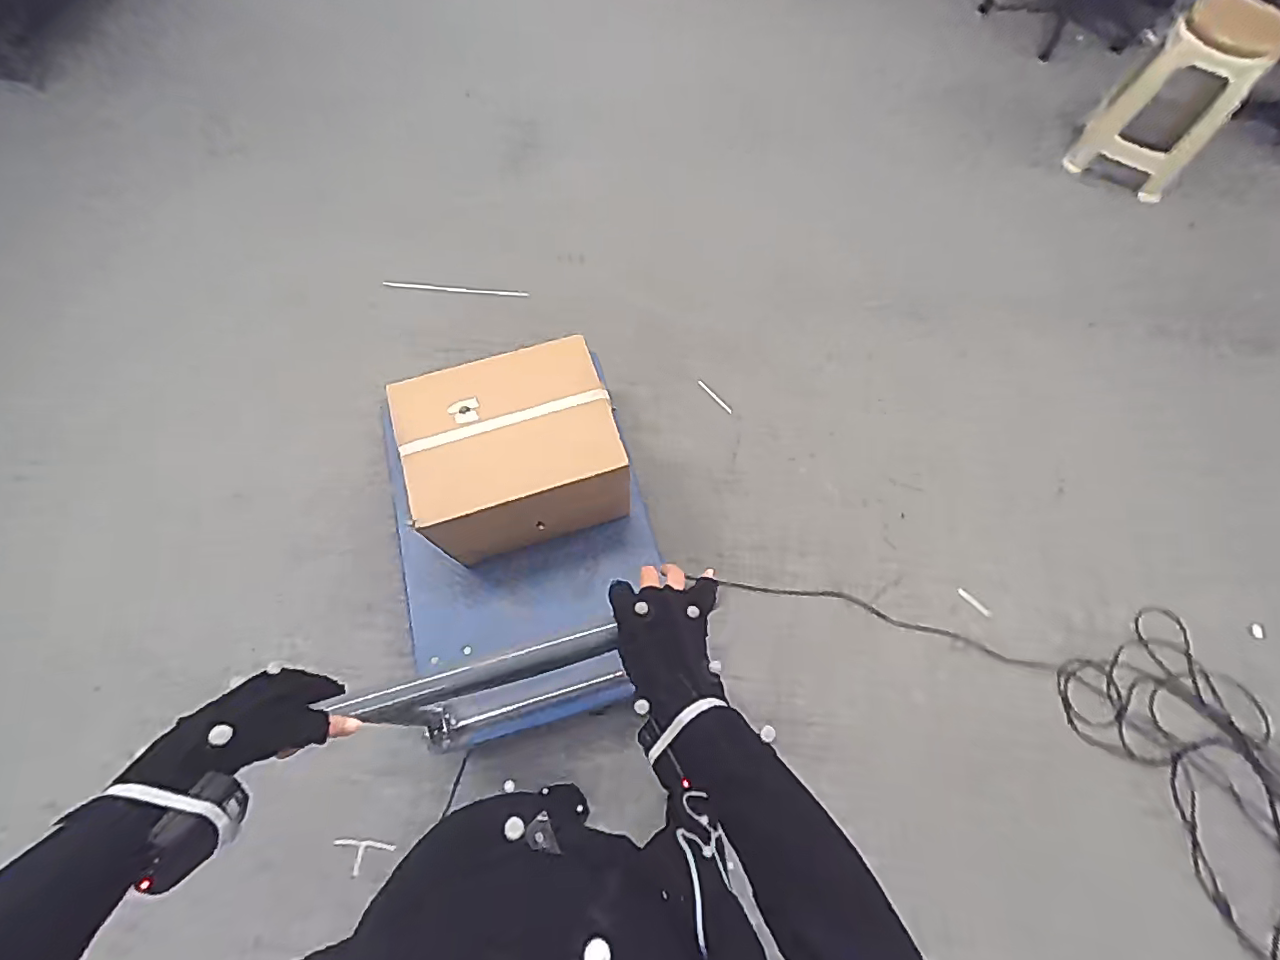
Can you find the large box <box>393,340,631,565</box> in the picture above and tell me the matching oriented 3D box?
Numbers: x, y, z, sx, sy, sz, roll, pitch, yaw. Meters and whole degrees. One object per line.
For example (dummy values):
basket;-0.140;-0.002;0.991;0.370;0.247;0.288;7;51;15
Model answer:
large box;-0.256;-0.046;1.183;0.408;0.320;0.320;-18;69;-7
